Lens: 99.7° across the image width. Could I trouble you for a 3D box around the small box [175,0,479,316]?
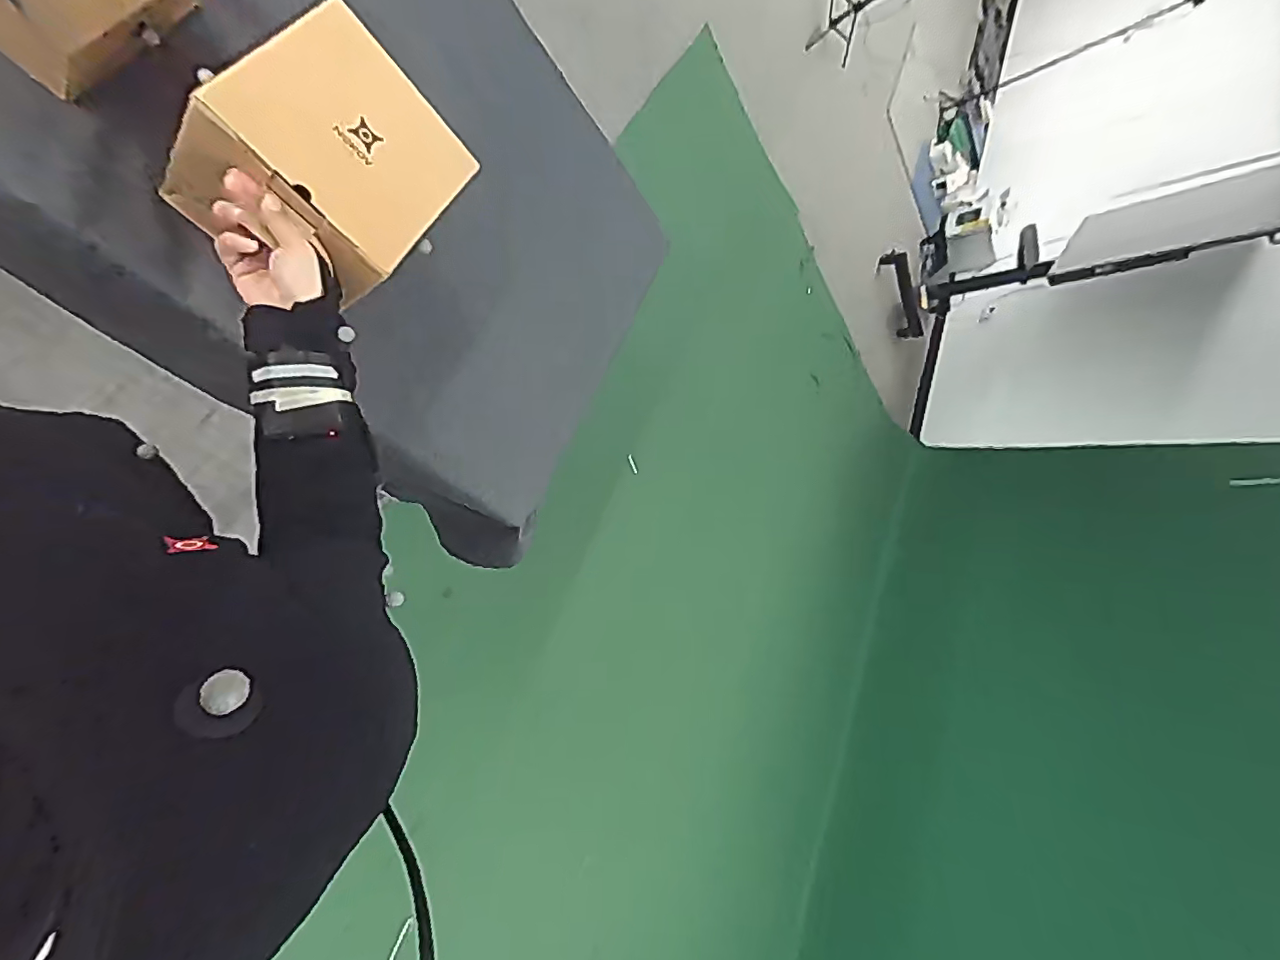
[{"bbox_3d":[-0.298,-0.292,0.522,0.168,0.176,0.179,44,56,-37],"label":"small box"}]
